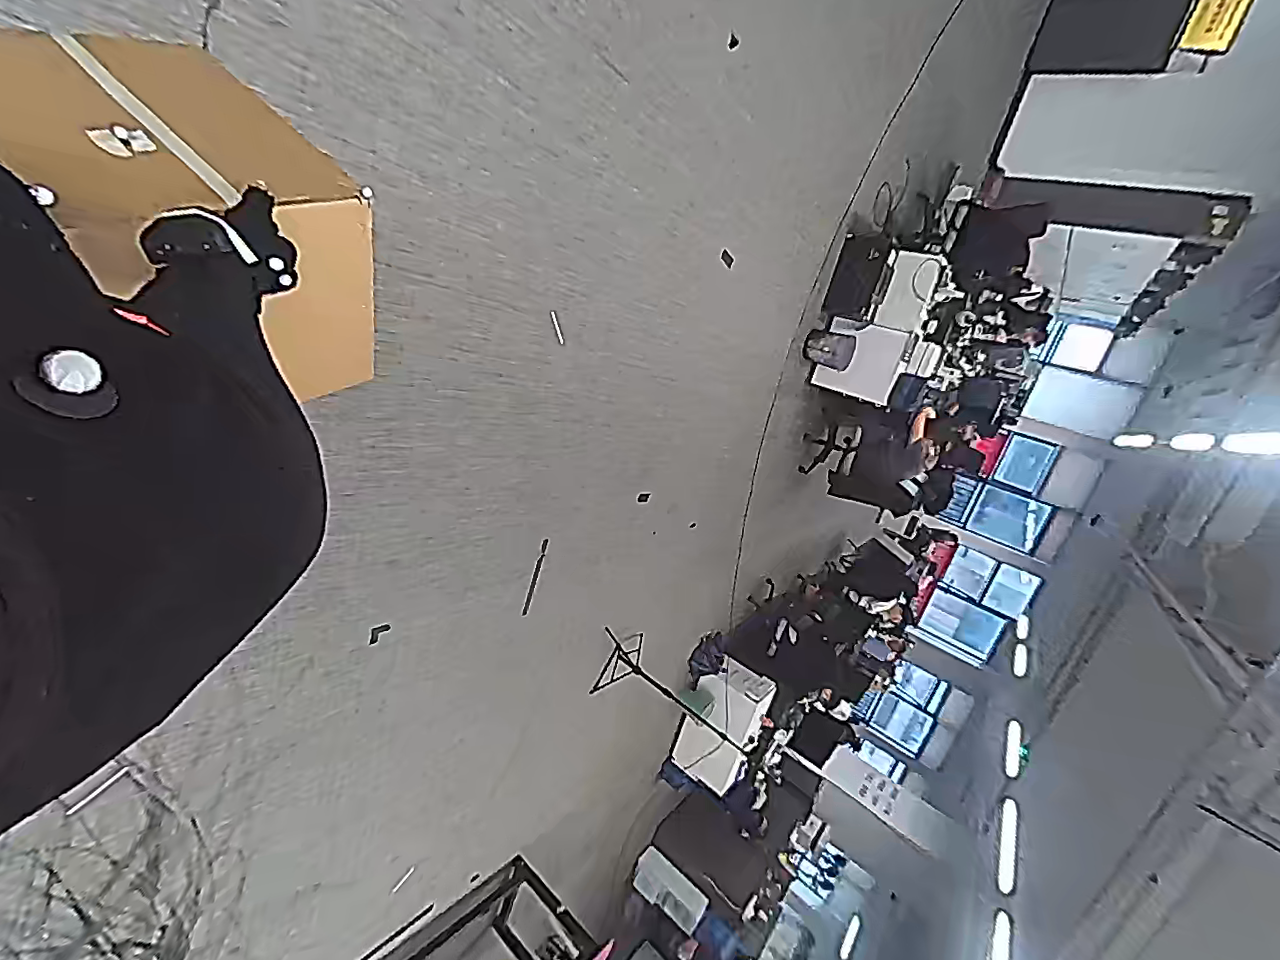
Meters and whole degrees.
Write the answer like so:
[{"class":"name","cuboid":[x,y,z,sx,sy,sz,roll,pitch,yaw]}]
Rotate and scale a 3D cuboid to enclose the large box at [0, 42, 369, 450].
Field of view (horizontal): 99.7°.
[{"class":"large box","cuboid":[-0.639,-0.320,0.748,0.320,0.408,0.320,-37,164,-41]}]
